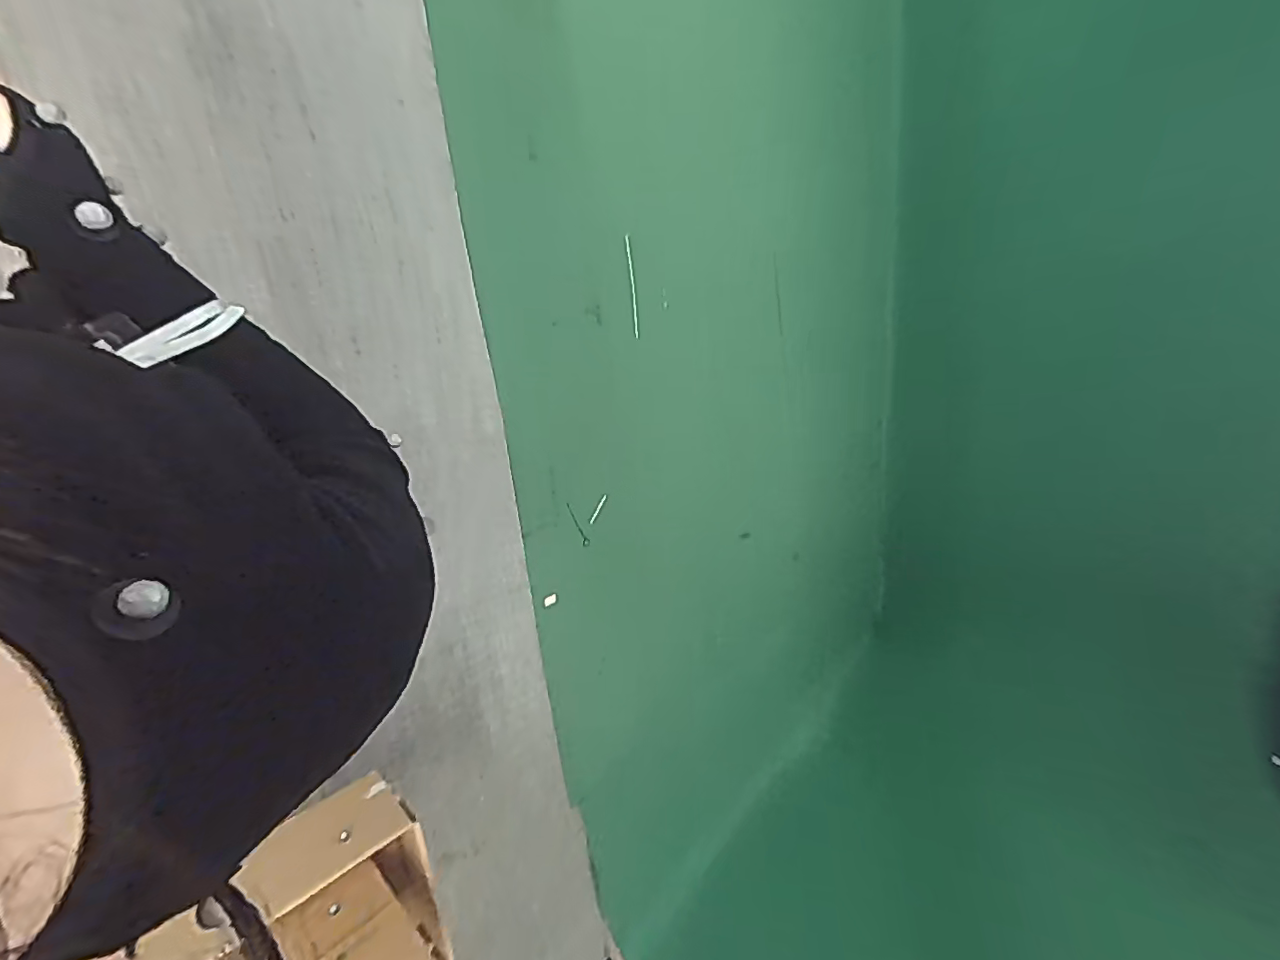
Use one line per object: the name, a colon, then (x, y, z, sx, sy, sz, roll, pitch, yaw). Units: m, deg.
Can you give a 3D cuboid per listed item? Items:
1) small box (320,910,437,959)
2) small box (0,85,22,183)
small box: (-0.427, 0.863, 0.885, 0.168, 0.176, 0.179, -19, 111, -41)
small box: (-0.505, -0.288, 0.306, 0.168, 0.176, 0.179, -14, 109, -39)
